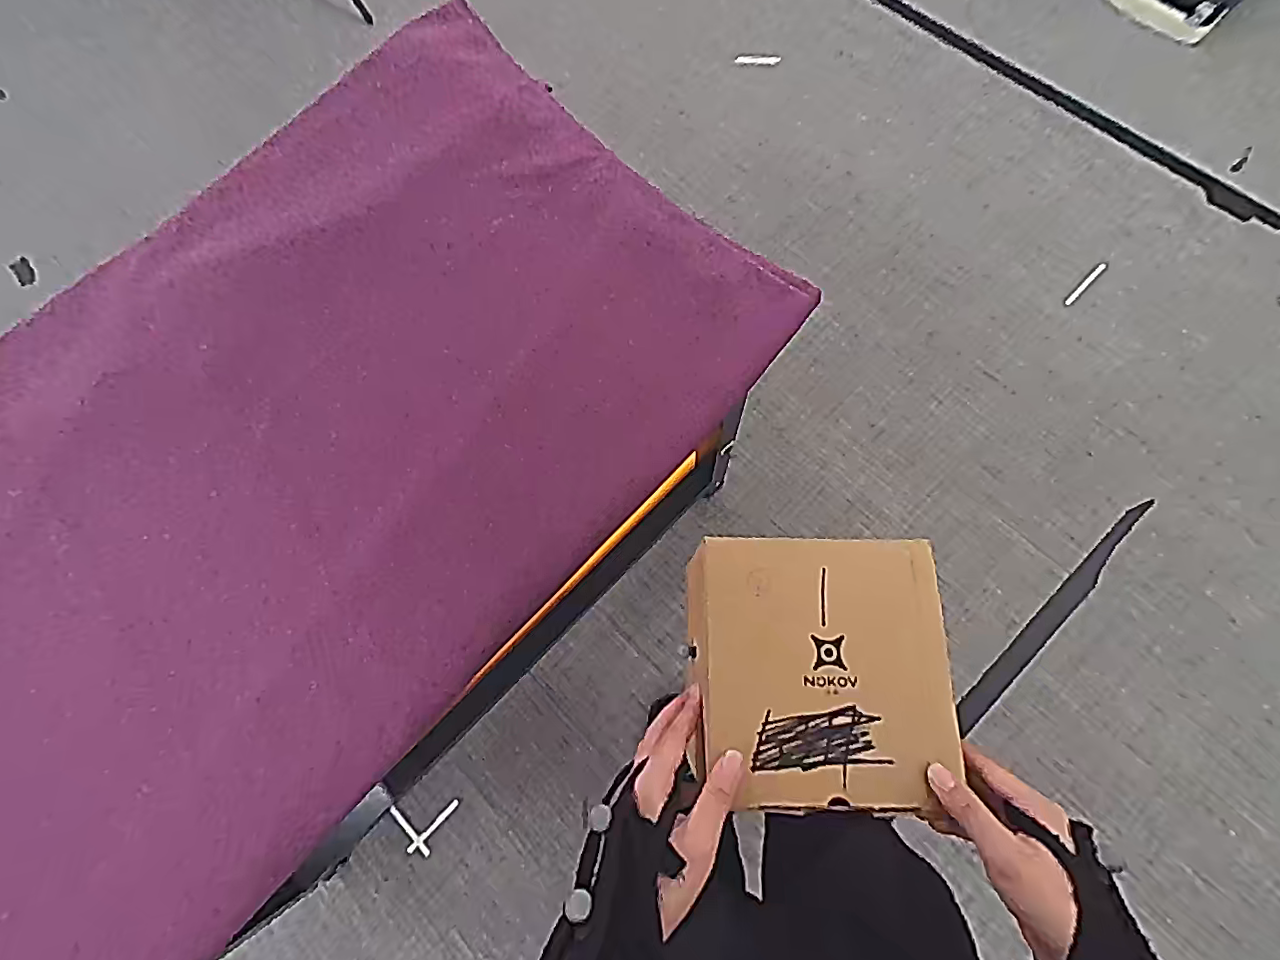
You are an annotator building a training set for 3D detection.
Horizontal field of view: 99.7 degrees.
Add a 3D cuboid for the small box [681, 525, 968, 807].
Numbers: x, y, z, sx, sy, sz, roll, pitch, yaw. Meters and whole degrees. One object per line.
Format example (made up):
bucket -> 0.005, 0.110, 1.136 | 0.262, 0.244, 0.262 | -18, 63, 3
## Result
small box -> 0.122, 0.140, 0.433 | 0.168, 0.176, 0.179 | 1, 71, 0
